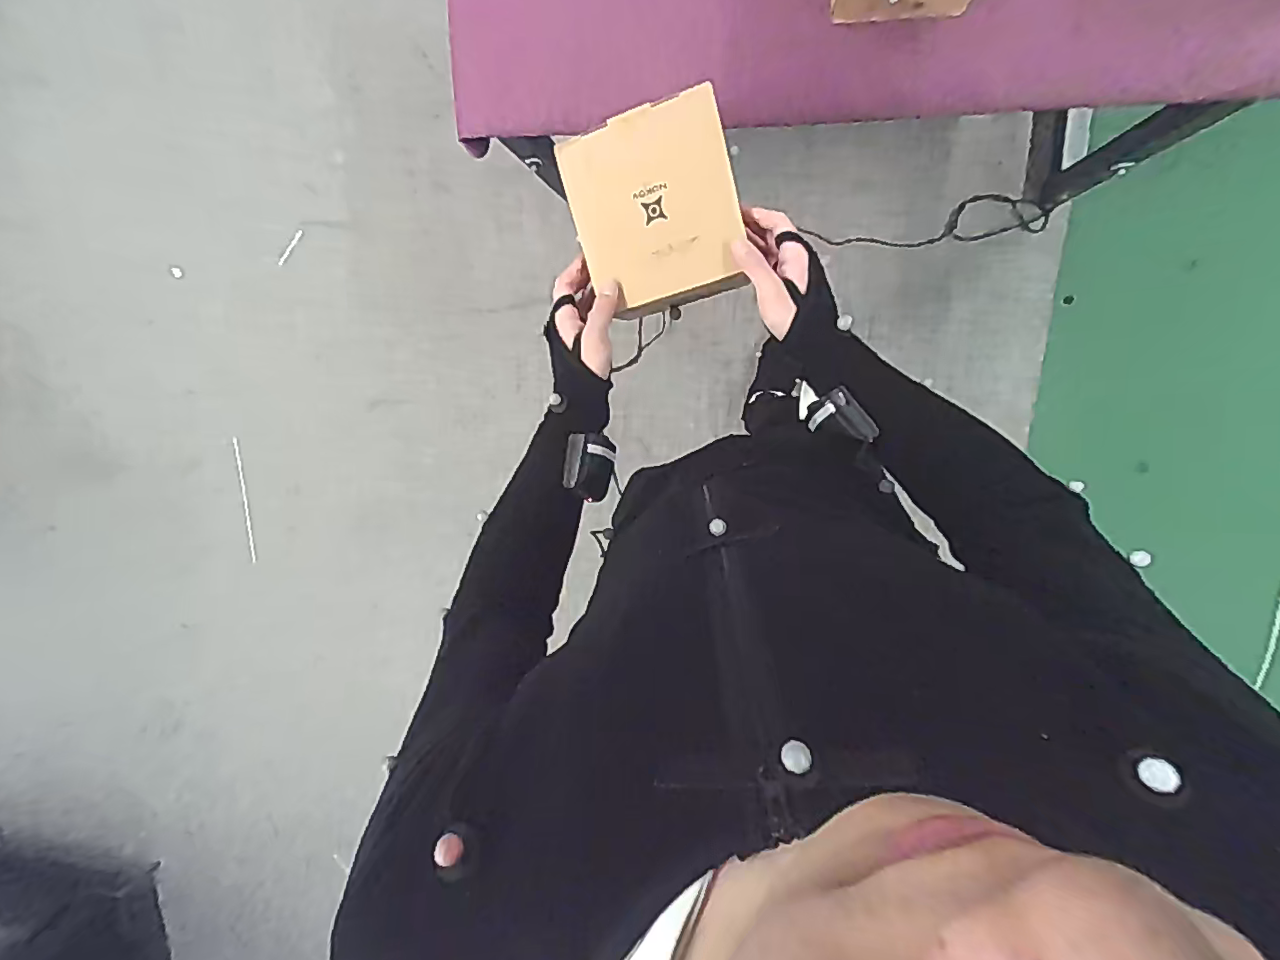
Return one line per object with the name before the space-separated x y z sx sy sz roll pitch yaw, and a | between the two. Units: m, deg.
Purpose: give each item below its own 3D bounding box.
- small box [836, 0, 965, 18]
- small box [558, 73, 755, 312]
small box | 0.326 -0.679 0.613 0.168 0.176 0.179 5 102 10
small box | 0.029 -0.301 0.613 0.168 0.176 0.179 -13 102 14
